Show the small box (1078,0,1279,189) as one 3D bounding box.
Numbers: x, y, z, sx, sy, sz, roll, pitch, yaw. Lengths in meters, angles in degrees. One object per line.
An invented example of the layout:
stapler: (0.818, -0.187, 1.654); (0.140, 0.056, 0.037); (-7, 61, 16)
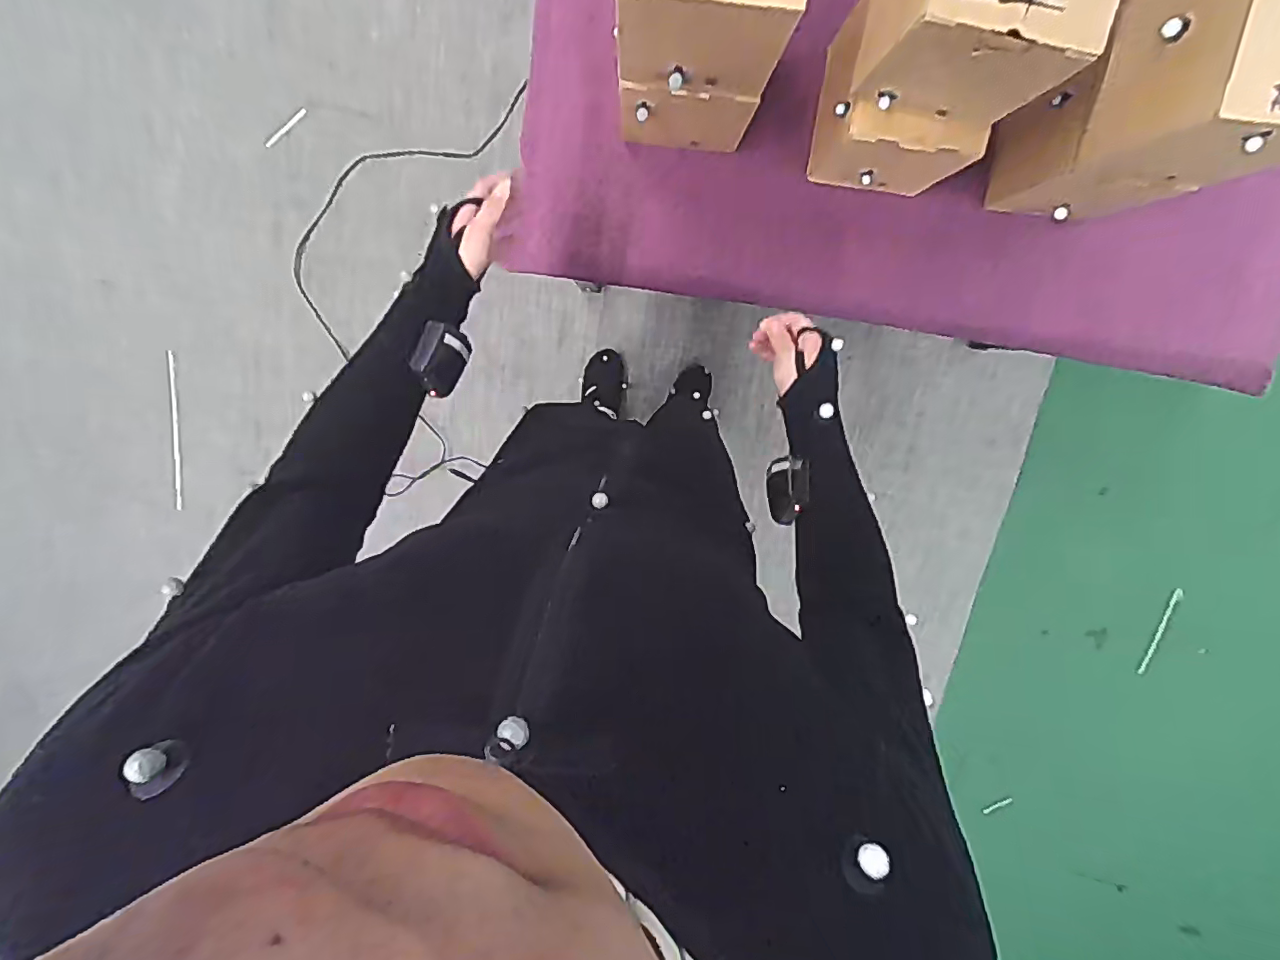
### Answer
small box: (0.600, -0.423, 0.550); (0.168, 0.176, 0.179); (4, 102, -2)

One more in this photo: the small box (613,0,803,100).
small box: (0.062, -0.506, 0.514); (0.168, 0.176, 0.179); (5, 103, -3)

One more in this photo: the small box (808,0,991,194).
small box: (0.332, -0.495, 0.696); (0.168, 0.176, 0.179); (6, 104, -3)

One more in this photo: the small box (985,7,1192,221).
small box: (0.595, -0.461, 0.709); (0.168, 0.176, 0.179); (5, 104, -3)

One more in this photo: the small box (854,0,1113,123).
small box: (0.334, -0.487, 0.529); (0.168, 0.176, 0.179); (10, 103, -4)
